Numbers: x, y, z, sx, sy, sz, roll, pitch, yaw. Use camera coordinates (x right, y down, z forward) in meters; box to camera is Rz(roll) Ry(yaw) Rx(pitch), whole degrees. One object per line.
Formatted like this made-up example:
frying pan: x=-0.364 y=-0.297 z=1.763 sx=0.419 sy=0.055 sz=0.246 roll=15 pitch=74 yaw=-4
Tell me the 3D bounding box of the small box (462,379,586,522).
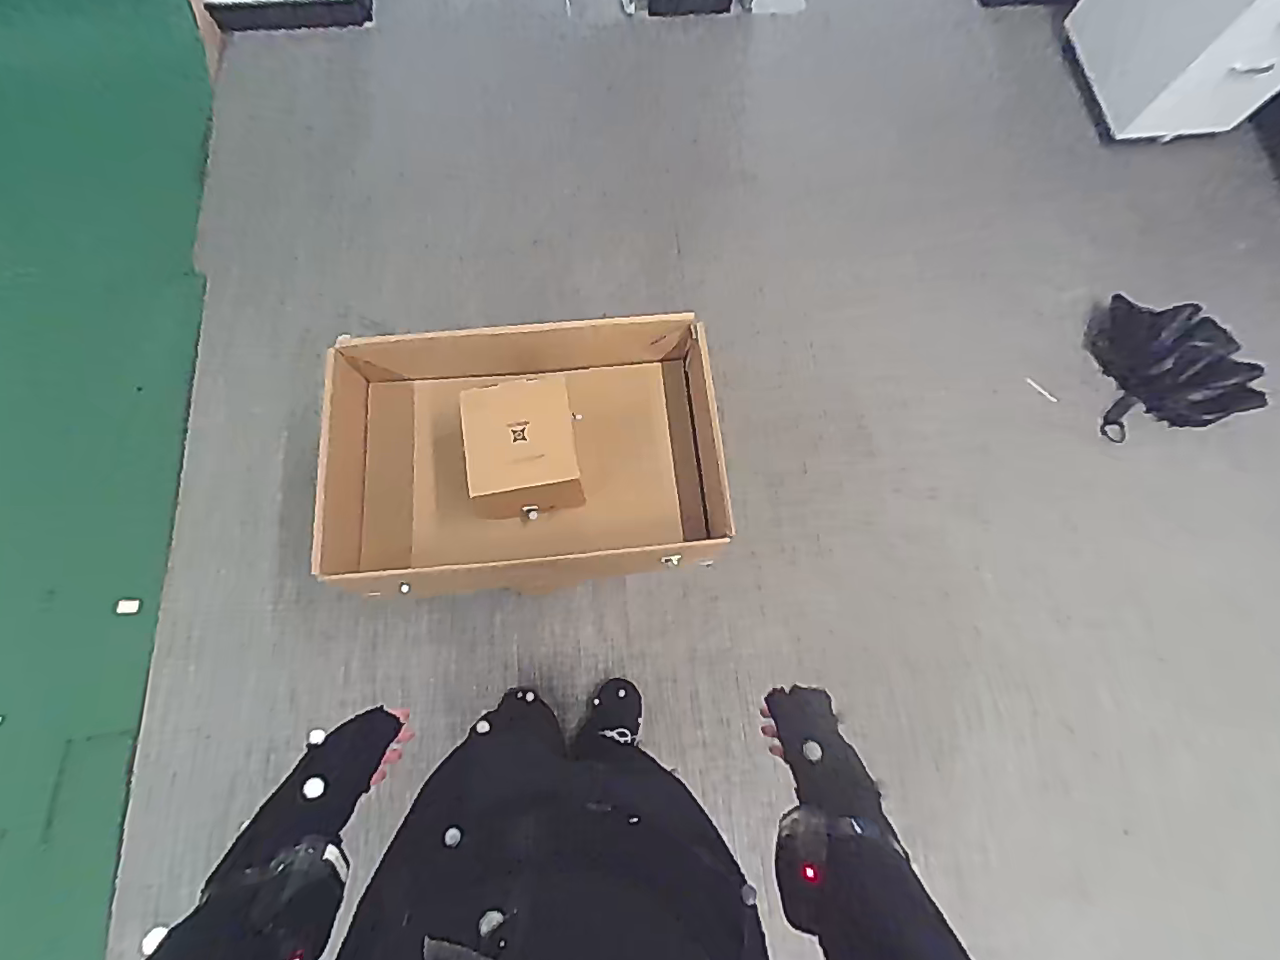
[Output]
small box: x=-0.186 y=-0.042 z=0.895 sx=0.168 sy=0.176 sz=0.179 roll=-9 pitch=74 yaw=-4
